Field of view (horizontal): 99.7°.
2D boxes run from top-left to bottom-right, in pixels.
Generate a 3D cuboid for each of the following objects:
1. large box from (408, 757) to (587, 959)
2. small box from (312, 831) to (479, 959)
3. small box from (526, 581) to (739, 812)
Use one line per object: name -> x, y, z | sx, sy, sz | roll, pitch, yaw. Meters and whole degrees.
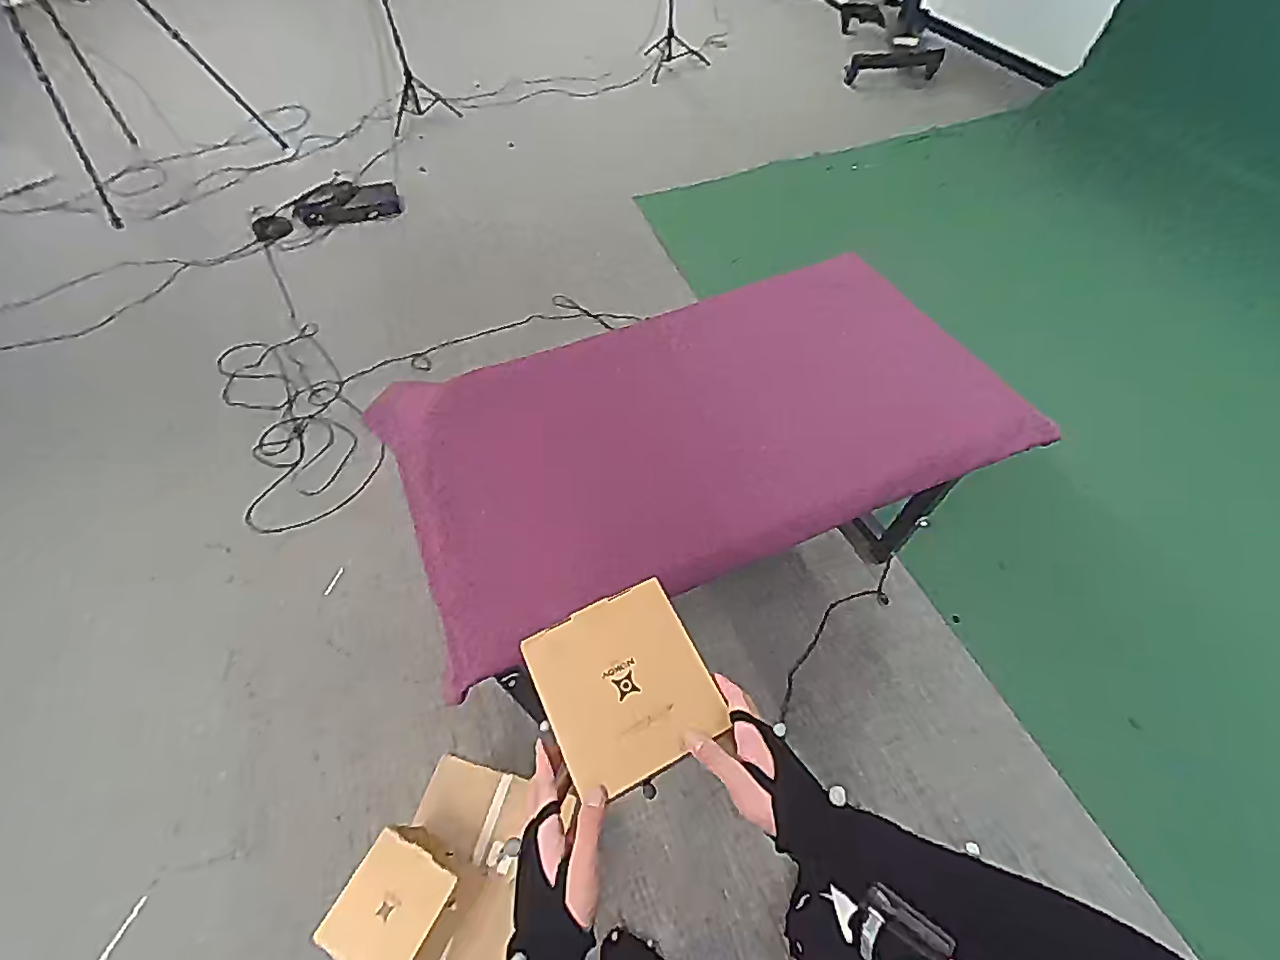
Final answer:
large box -> -0.329, 0.869, 1.150 | 0.320, 0.320, 0.408 | 13, 56, 9
small box -> -0.408, 0.749, 0.939 | 0.168, 0.176, 0.179 | 22, 59, 17
small box -> -0.014, 0.247, 0.609 | 0.168, 0.176, 0.179 | -22, 62, -13
